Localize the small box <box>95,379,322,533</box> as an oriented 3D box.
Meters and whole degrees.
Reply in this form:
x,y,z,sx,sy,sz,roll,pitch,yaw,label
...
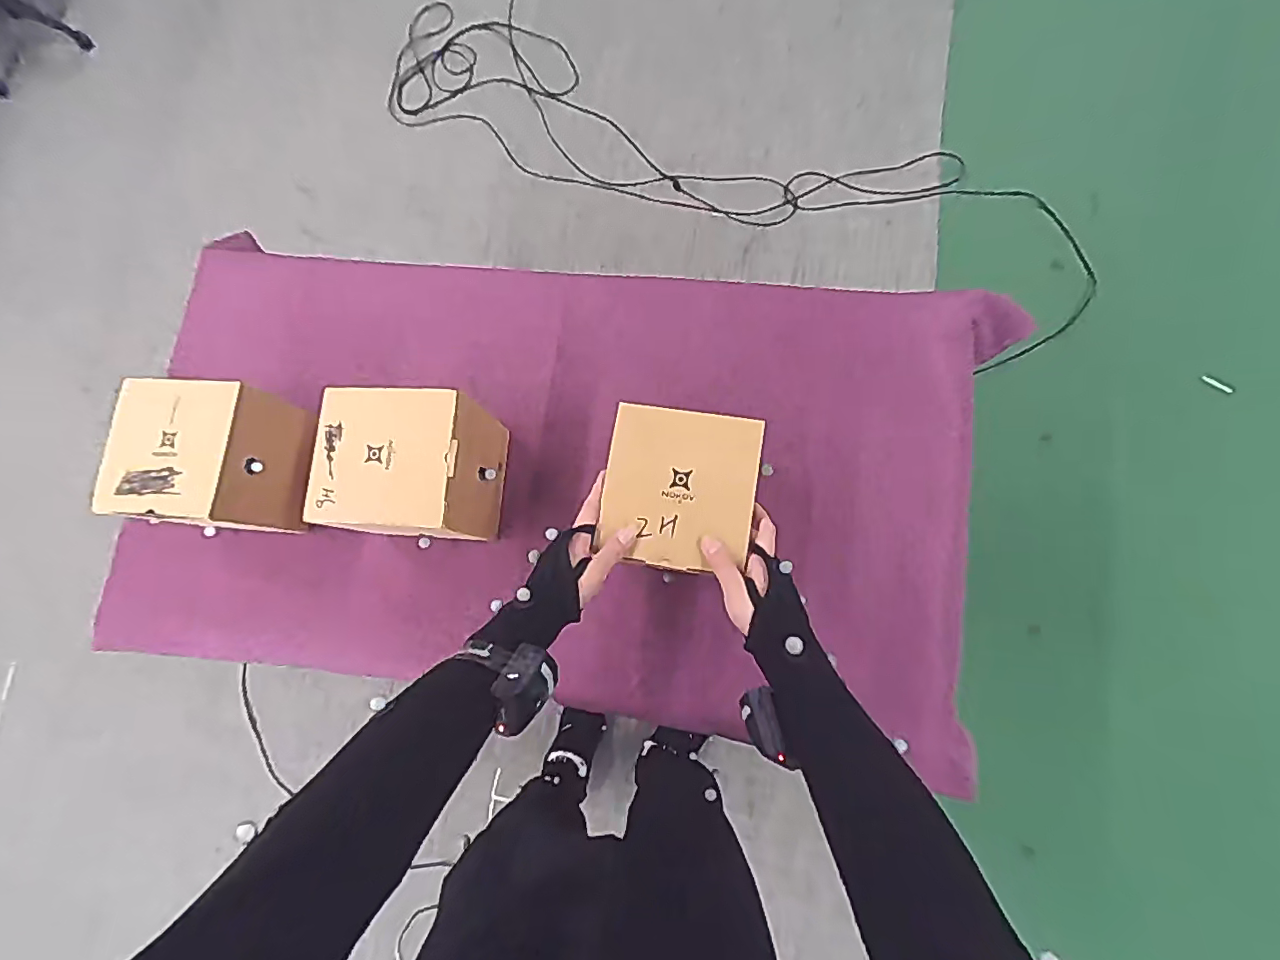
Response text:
x,y,z,sx,sy,sz,roll,pitch,yaw,label
-0.571,-0.024,0.744,0.168,0.176,0.179,3,78,7,small box

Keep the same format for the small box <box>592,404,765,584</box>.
x,y,z,sx,sy,sz,roll,pitch,yaw,label
0.051,0.026,0.664,0.168,0.176,0.179,9,80,9,small box

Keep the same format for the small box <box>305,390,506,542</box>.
x,y,z,sx,sy,sz,roll,pitch,yaw,label
-0.290,-0.010,0.711,0.179,0.176,0.168,3,79,7,small box
